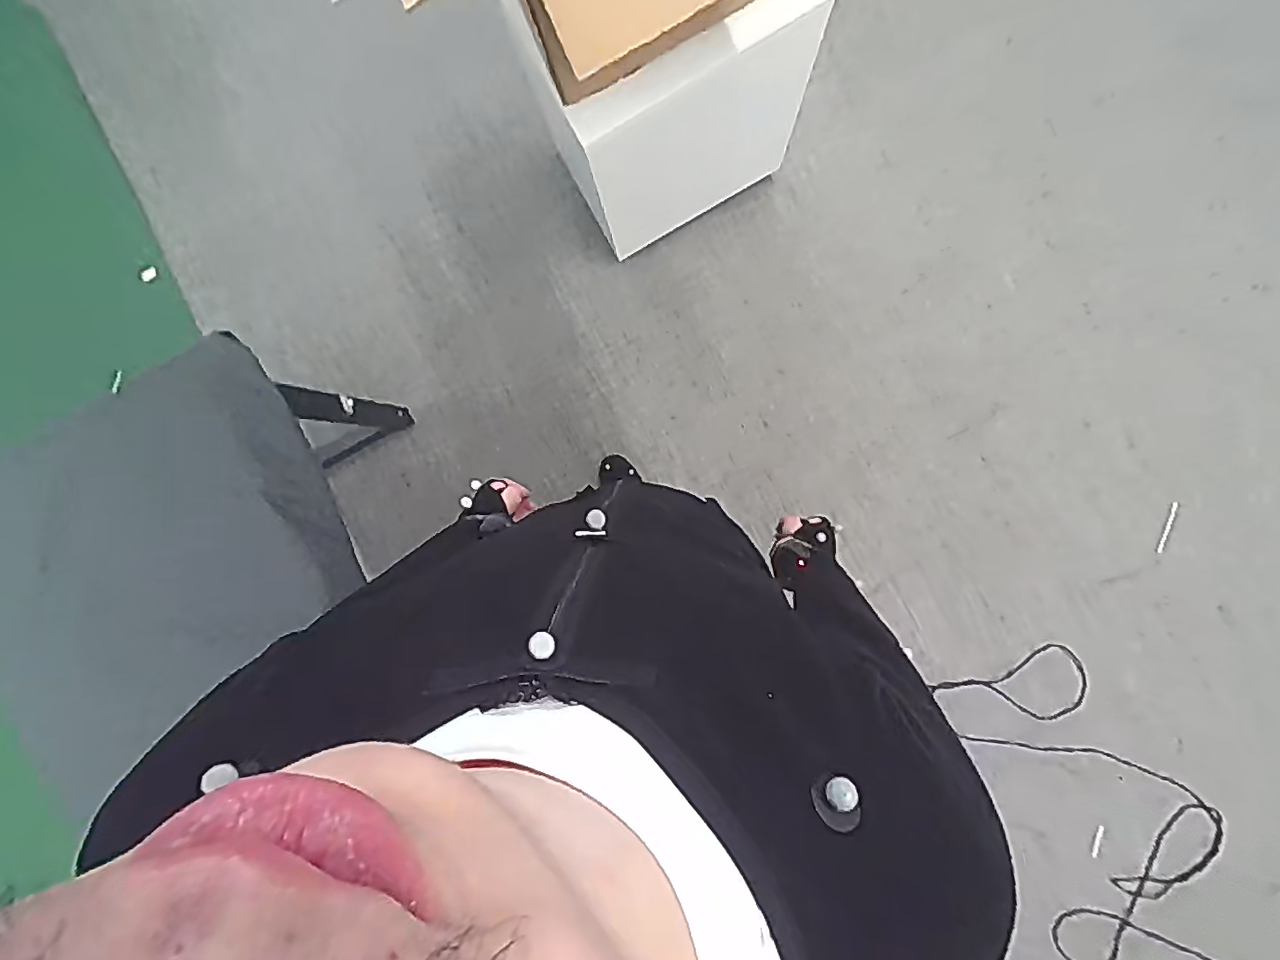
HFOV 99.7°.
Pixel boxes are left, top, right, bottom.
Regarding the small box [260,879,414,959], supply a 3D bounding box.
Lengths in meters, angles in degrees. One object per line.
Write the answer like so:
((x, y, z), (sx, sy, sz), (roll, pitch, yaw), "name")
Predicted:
((-0.475, 0.763, 0.824), (0.179, 0.176, 0.168), (-27, 89, 5), "small box")
